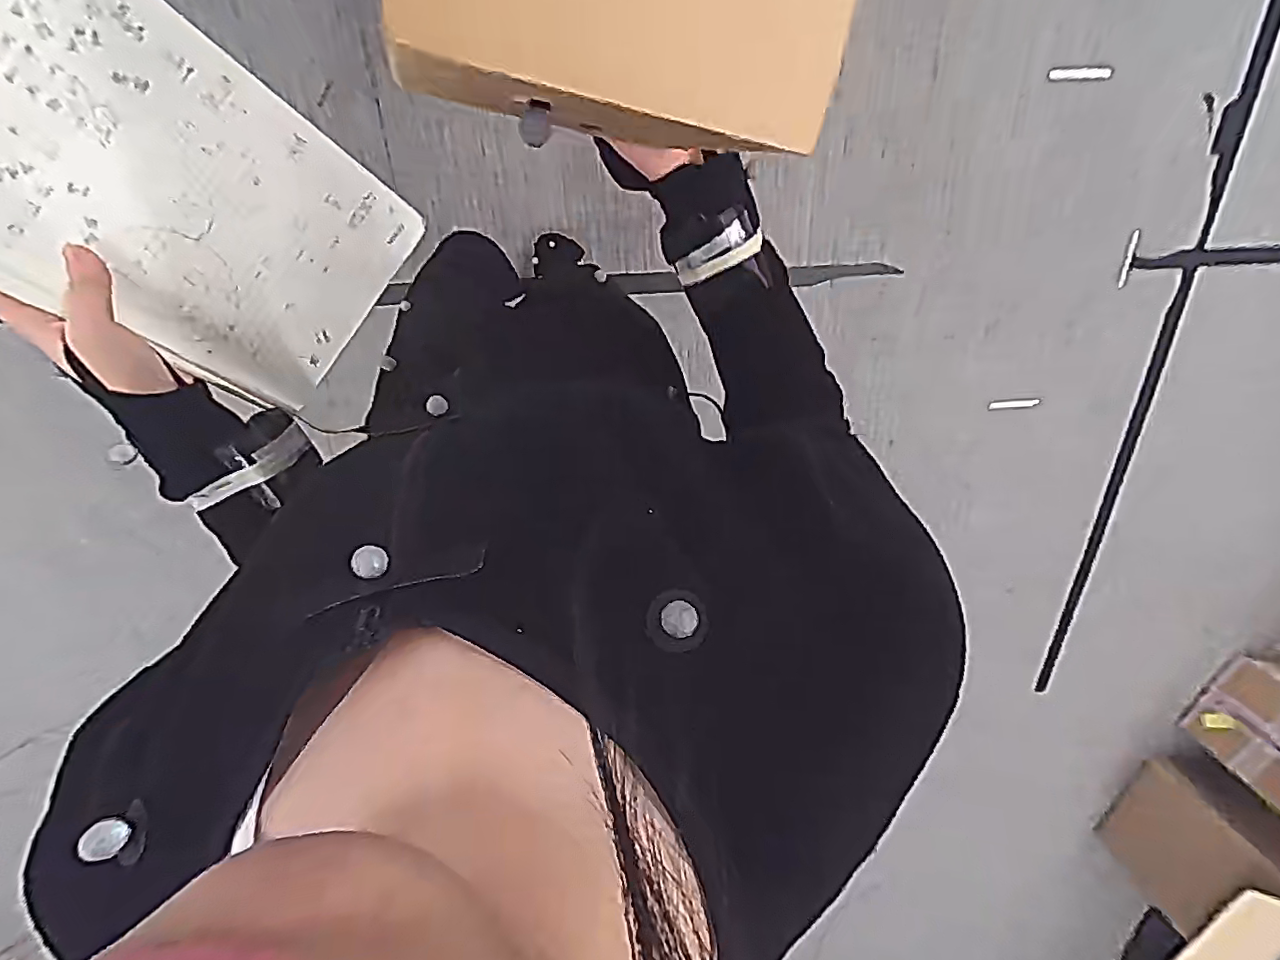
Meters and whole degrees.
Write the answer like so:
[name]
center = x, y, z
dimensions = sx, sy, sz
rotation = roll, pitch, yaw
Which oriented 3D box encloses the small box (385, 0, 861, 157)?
[small box]
center = -0.012, -0.250, 0.226
dimensions = 0.168, 0.176, 0.179
rotation = 0, 118, -21
